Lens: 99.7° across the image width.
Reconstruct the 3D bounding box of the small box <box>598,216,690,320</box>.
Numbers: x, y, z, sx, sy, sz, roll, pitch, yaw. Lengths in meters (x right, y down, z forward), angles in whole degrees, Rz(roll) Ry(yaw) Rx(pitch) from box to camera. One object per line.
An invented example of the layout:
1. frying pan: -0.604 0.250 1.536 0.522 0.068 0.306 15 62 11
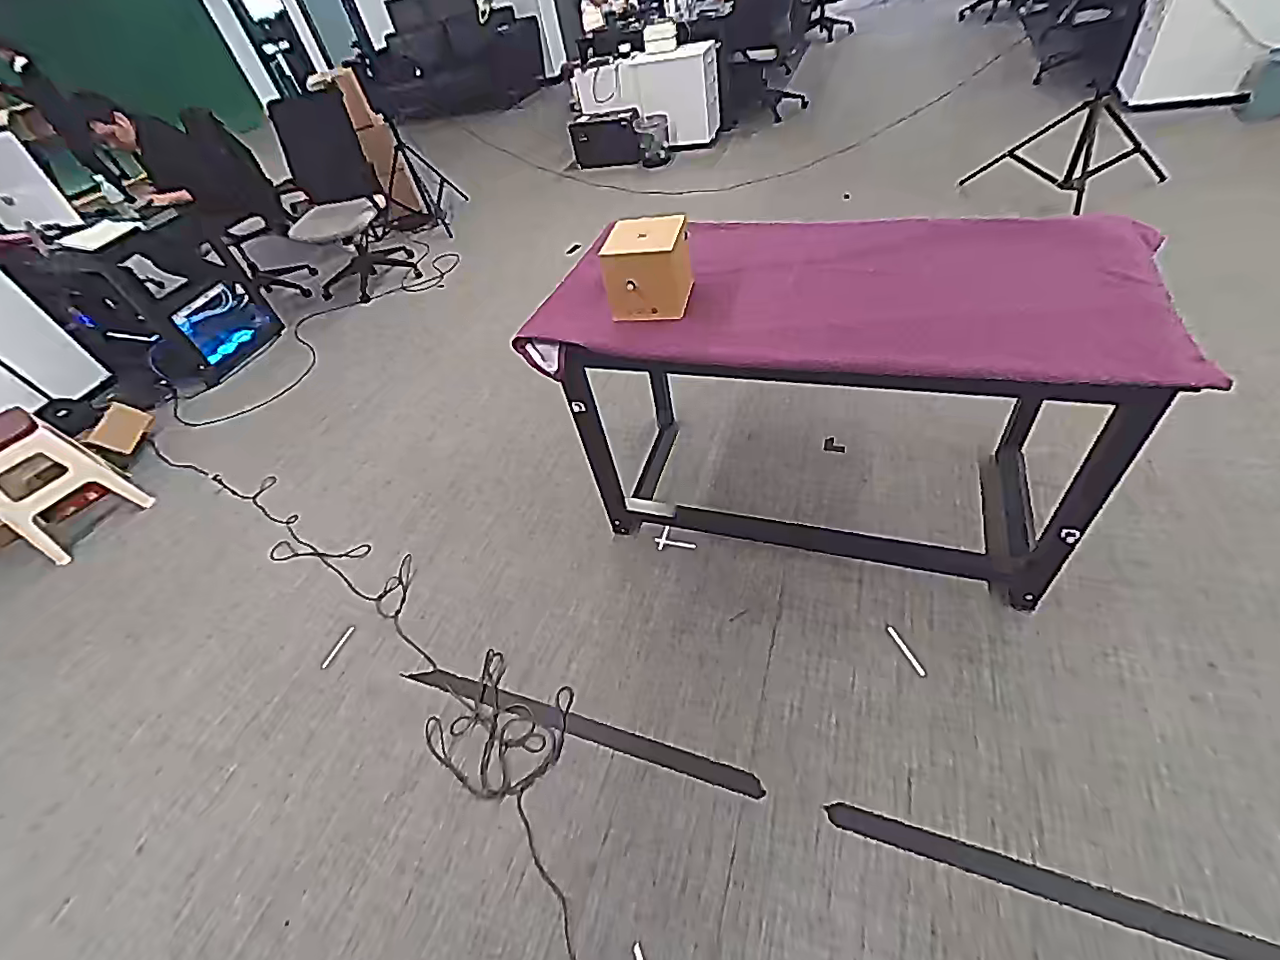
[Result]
1. small box: 0.019 -0.486 1.256 0.168 0.176 0.179 3 48 16
